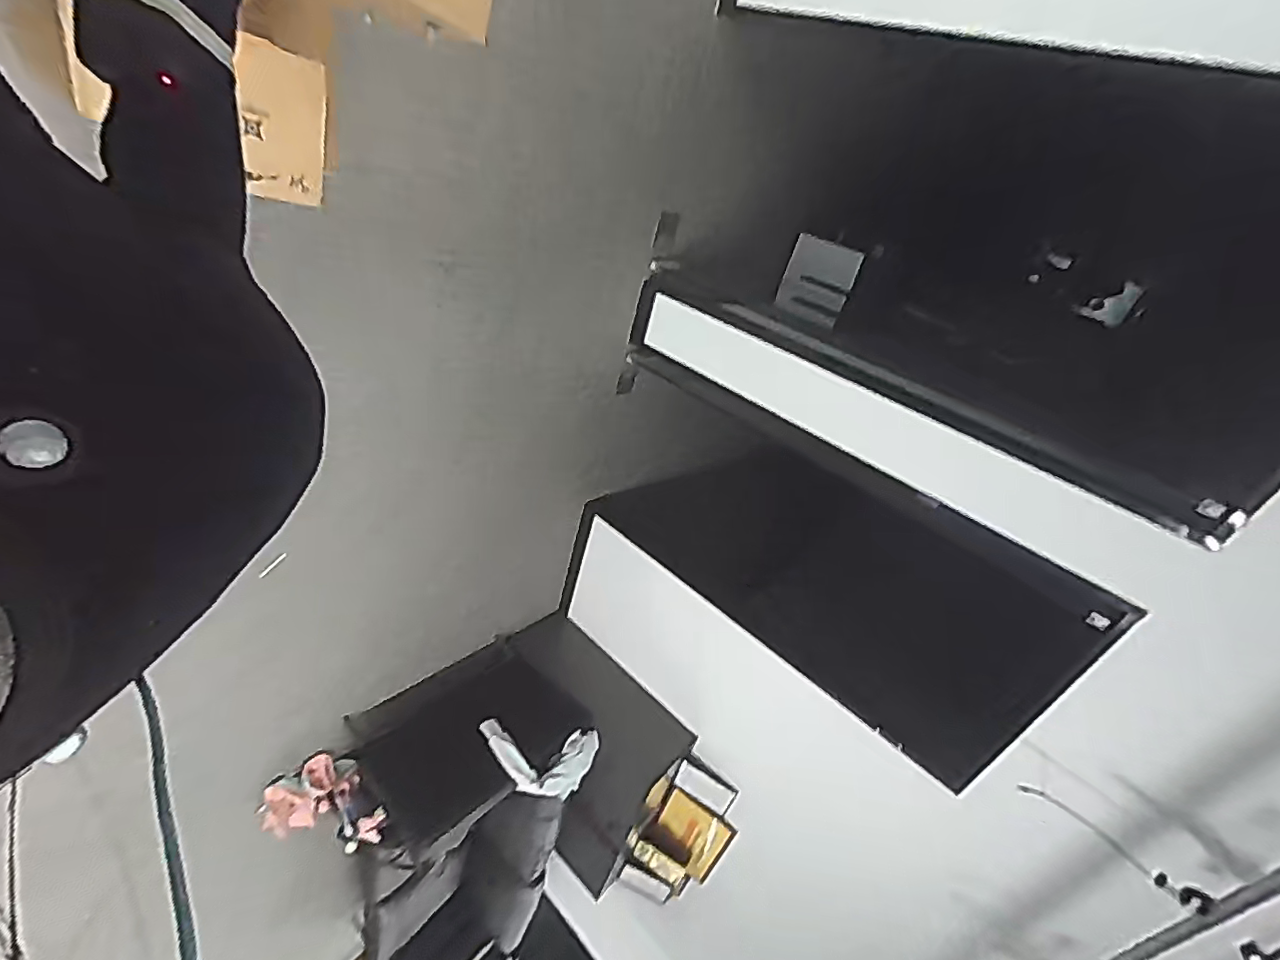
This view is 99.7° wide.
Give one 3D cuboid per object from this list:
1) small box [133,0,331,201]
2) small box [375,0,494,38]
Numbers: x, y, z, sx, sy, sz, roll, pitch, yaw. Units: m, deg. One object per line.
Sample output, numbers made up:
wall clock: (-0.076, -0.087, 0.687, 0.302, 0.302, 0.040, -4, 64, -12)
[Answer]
small box: (-0.528, -0.495, 0.704, 0.168, 0.176, 0.179, -13, 132, -48)
small box: (-0.270, -0.638, 0.598, 0.179, 0.176, 0.168, -12, 130, -52)
